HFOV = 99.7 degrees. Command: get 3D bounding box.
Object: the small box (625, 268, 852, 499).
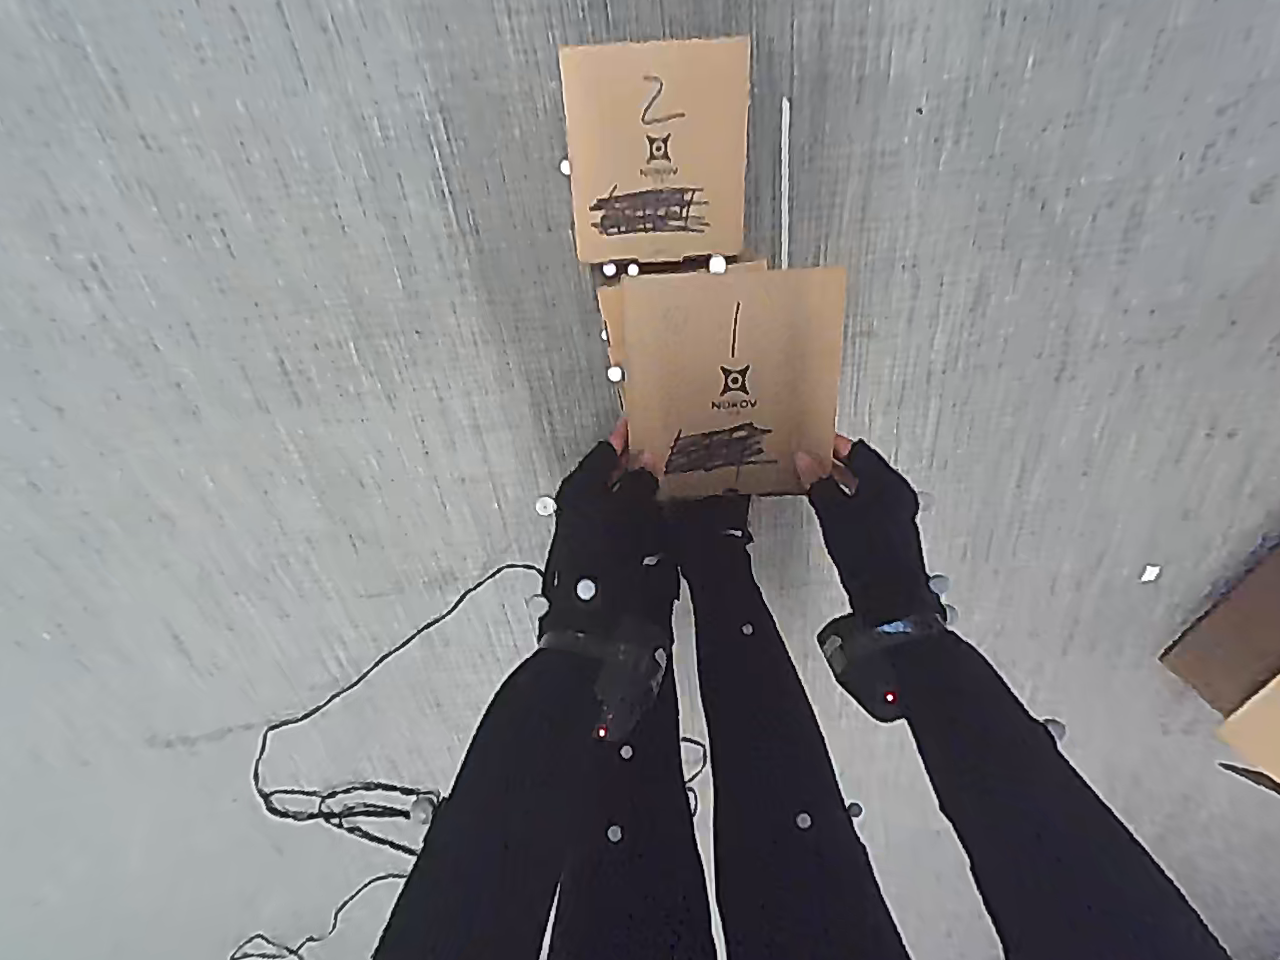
[{"bbox_3d":[0.072,-0.092,0.489,0.168,0.176,0.179,-2,107,-1],"label":"small box"}]
